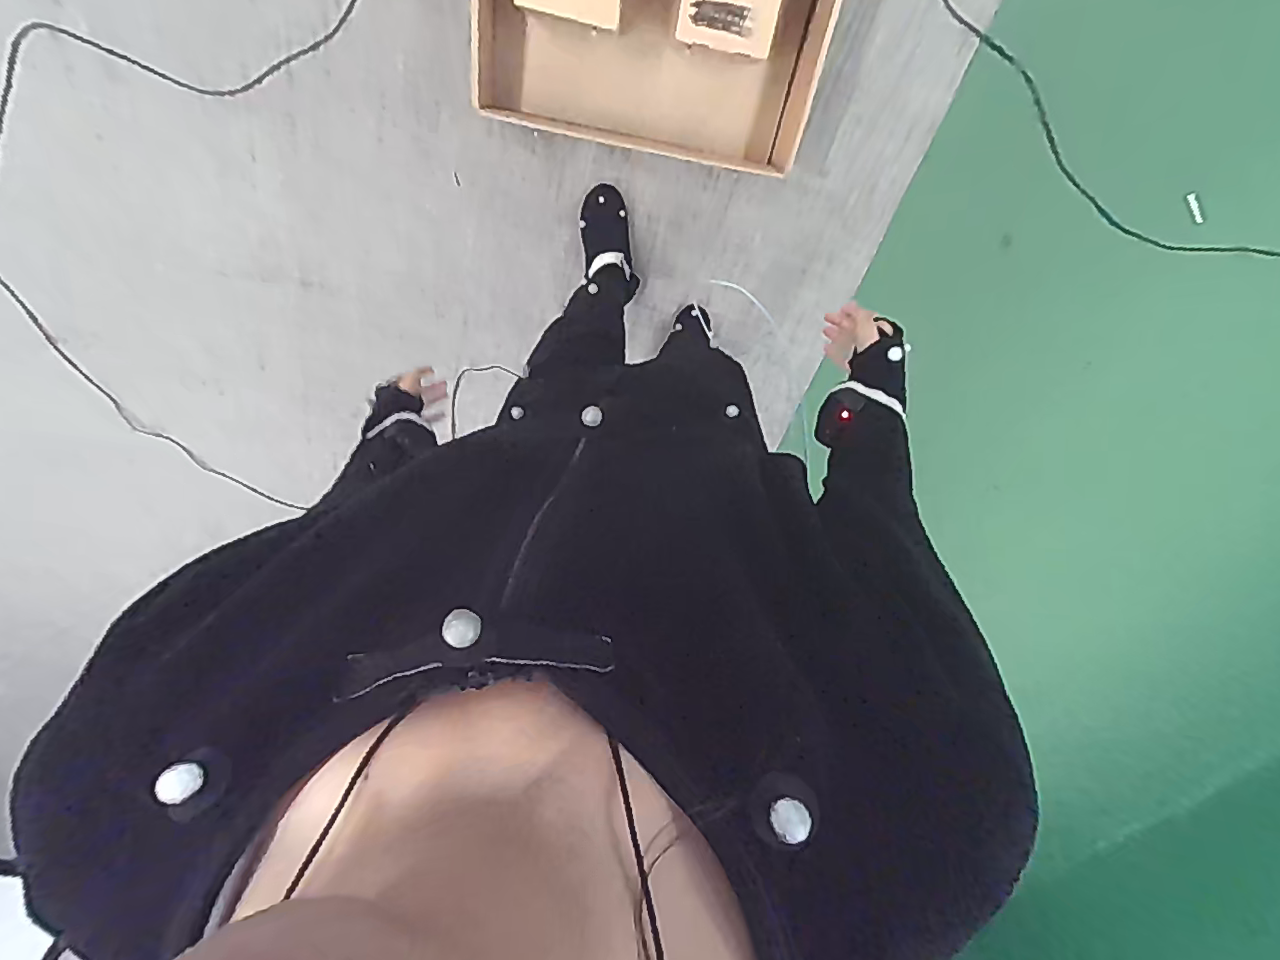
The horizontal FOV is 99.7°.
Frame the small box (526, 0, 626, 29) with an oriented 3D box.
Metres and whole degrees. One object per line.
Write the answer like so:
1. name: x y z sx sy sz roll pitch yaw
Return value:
1. small box: -0.104 -0.885 0.911 0.179 0.176 0.168 8 126 -8
